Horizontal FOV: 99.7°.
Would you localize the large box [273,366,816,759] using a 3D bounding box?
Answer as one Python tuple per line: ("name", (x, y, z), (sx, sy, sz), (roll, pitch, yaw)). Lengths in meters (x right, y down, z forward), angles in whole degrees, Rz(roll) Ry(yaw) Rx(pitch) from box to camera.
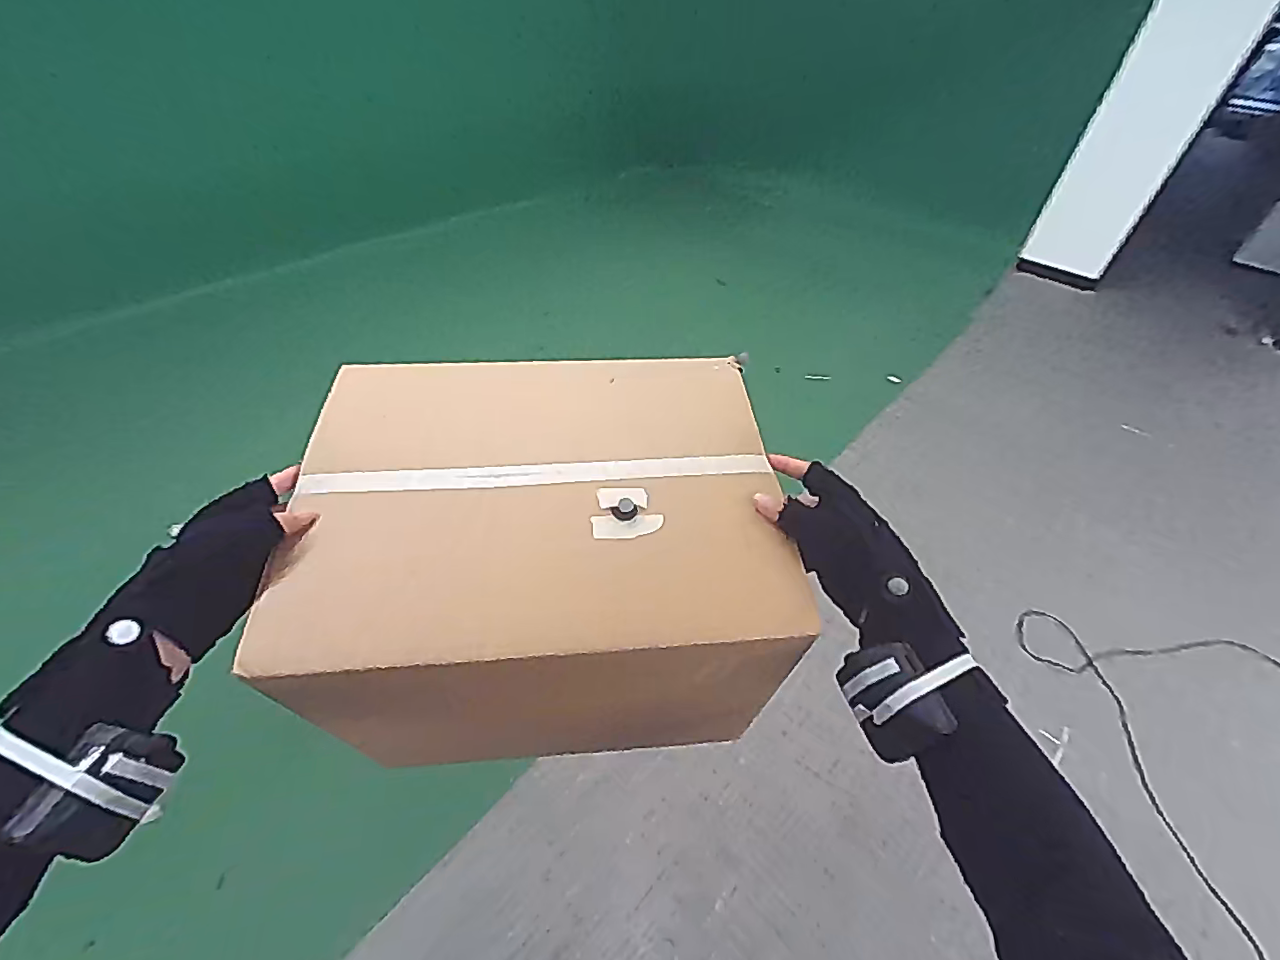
("large box", (-0.084, 0.093, 0.601), (0.408, 0.320, 0.320), (-2, 52, -6))
